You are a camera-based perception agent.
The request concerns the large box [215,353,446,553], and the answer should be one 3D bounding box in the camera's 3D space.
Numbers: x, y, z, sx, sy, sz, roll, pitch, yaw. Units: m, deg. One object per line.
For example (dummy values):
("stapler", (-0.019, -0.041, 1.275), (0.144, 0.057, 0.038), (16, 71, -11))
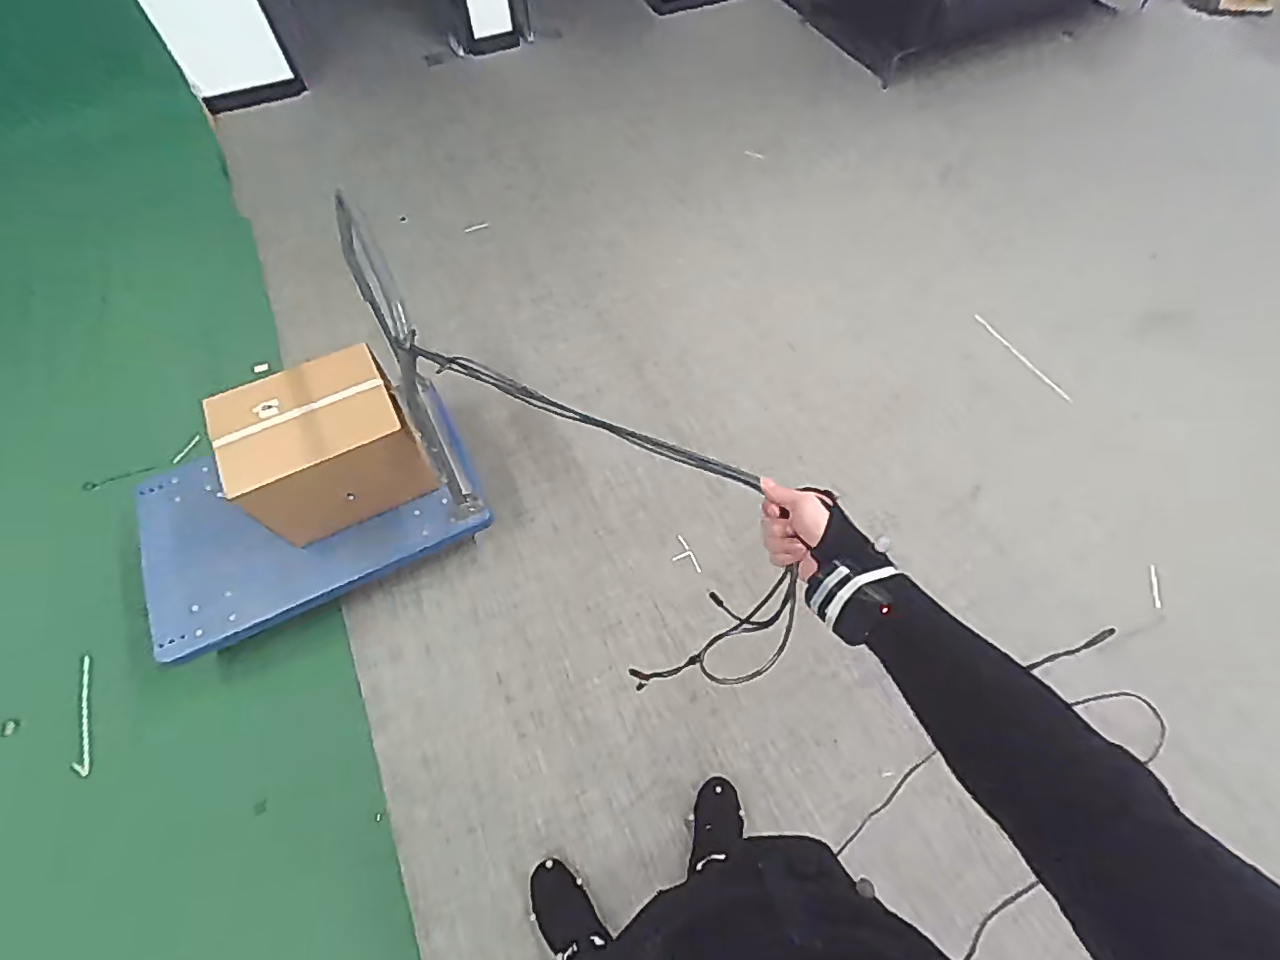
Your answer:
("large box", (-0.800, -0.065, 1.444), (0.408, 0.320, 0.320), (-26, 64, -13))
